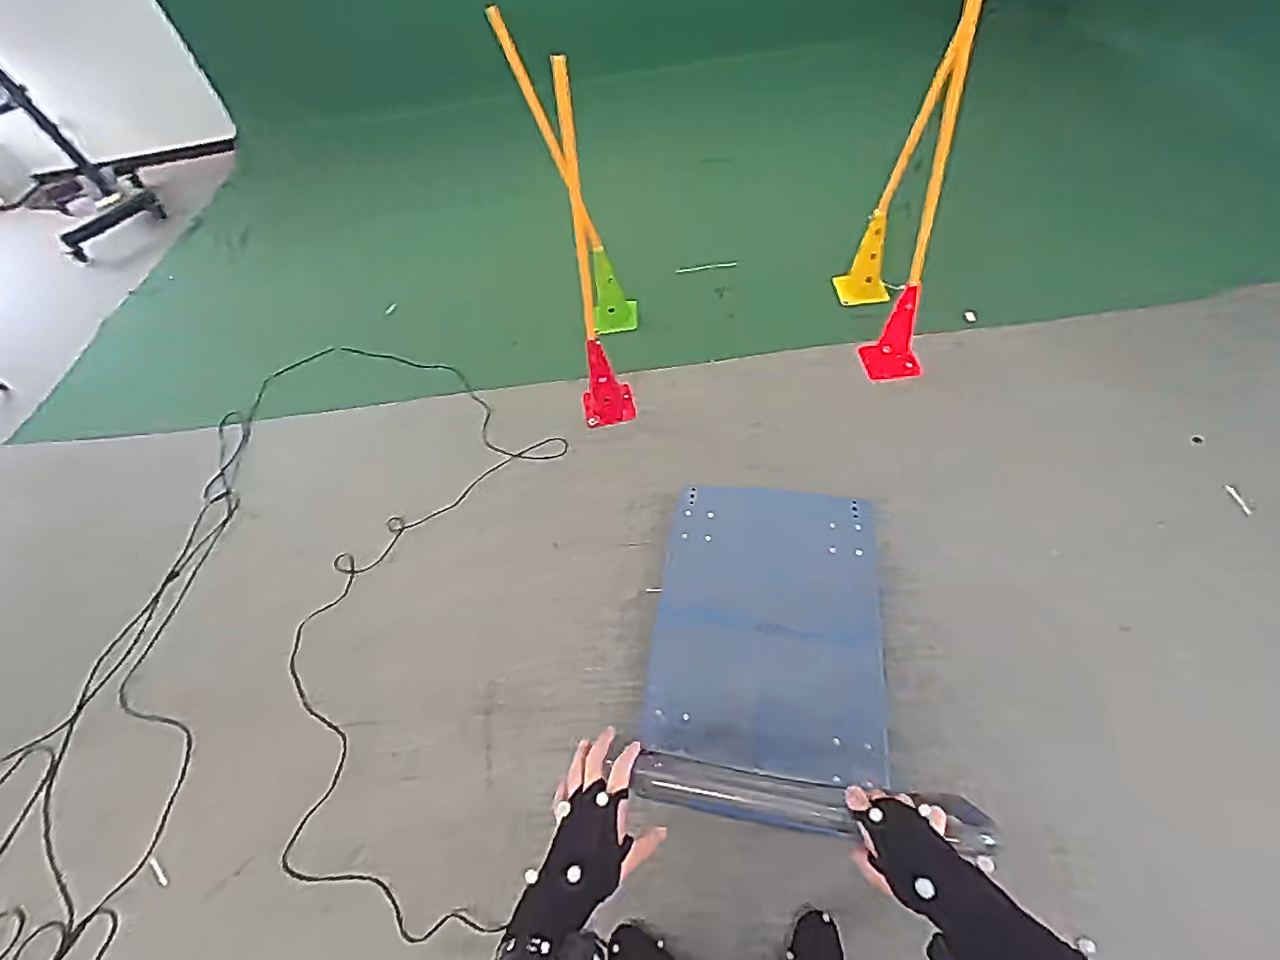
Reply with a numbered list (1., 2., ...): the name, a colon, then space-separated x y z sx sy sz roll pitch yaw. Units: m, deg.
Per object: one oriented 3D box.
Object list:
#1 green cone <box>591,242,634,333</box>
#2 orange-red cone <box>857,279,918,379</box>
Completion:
1. green cone: -0.150 -0.852 2.348 0.200 0.368 0.202 -7 54 5
2. orange-red cone: 0.945 -0.571 1.980 0.198 0.360 0.199 -6 53 4
